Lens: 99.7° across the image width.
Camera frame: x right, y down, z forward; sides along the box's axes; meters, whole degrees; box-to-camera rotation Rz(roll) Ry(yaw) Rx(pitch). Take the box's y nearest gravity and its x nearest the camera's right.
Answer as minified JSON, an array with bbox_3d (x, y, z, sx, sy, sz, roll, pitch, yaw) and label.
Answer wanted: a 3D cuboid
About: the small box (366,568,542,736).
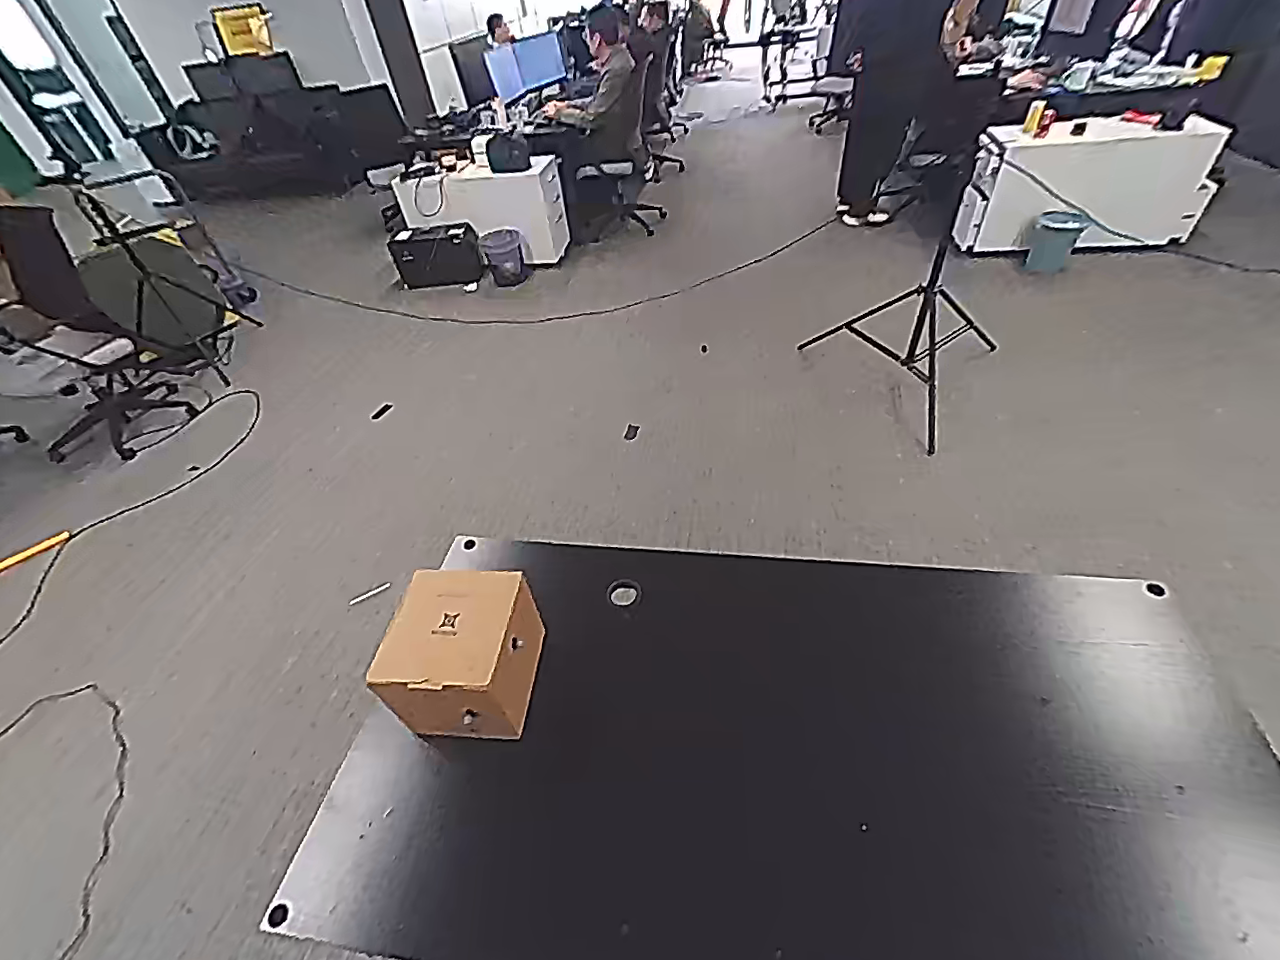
[{"bbox_3d":[-0.248,0.248,0.776,0.168,0.176,0.179,1,44,6],"label":"small box"}]
